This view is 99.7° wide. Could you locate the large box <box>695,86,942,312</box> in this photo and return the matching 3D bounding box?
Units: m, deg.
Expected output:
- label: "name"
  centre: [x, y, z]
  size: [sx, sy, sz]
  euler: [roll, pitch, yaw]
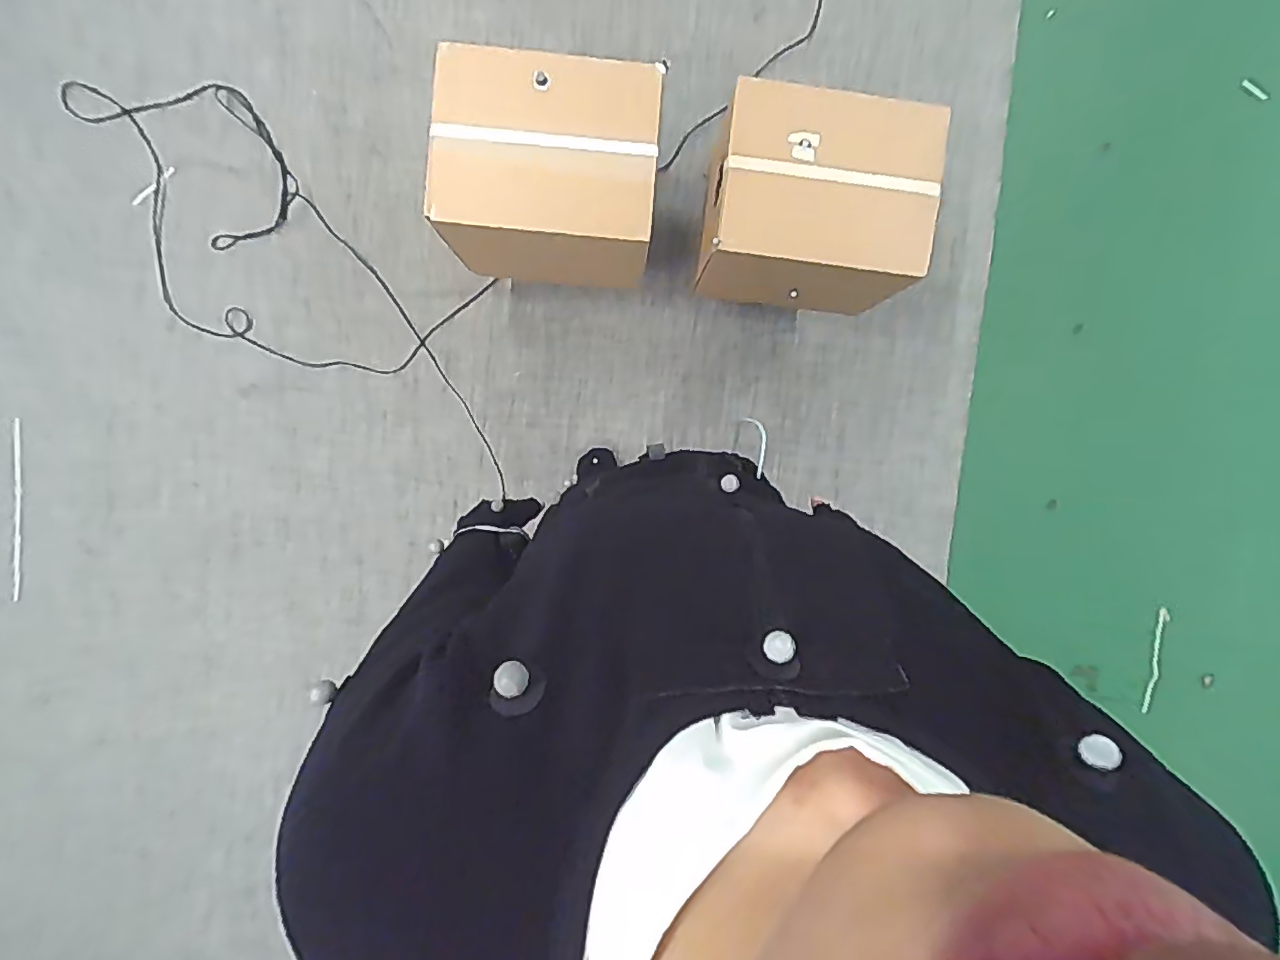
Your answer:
- label: "large box"
  centre: [0.352, -0.568, 1.163]
  size: [0.408, 0.320, 0.320]
  euler: [7, 93, -2]
